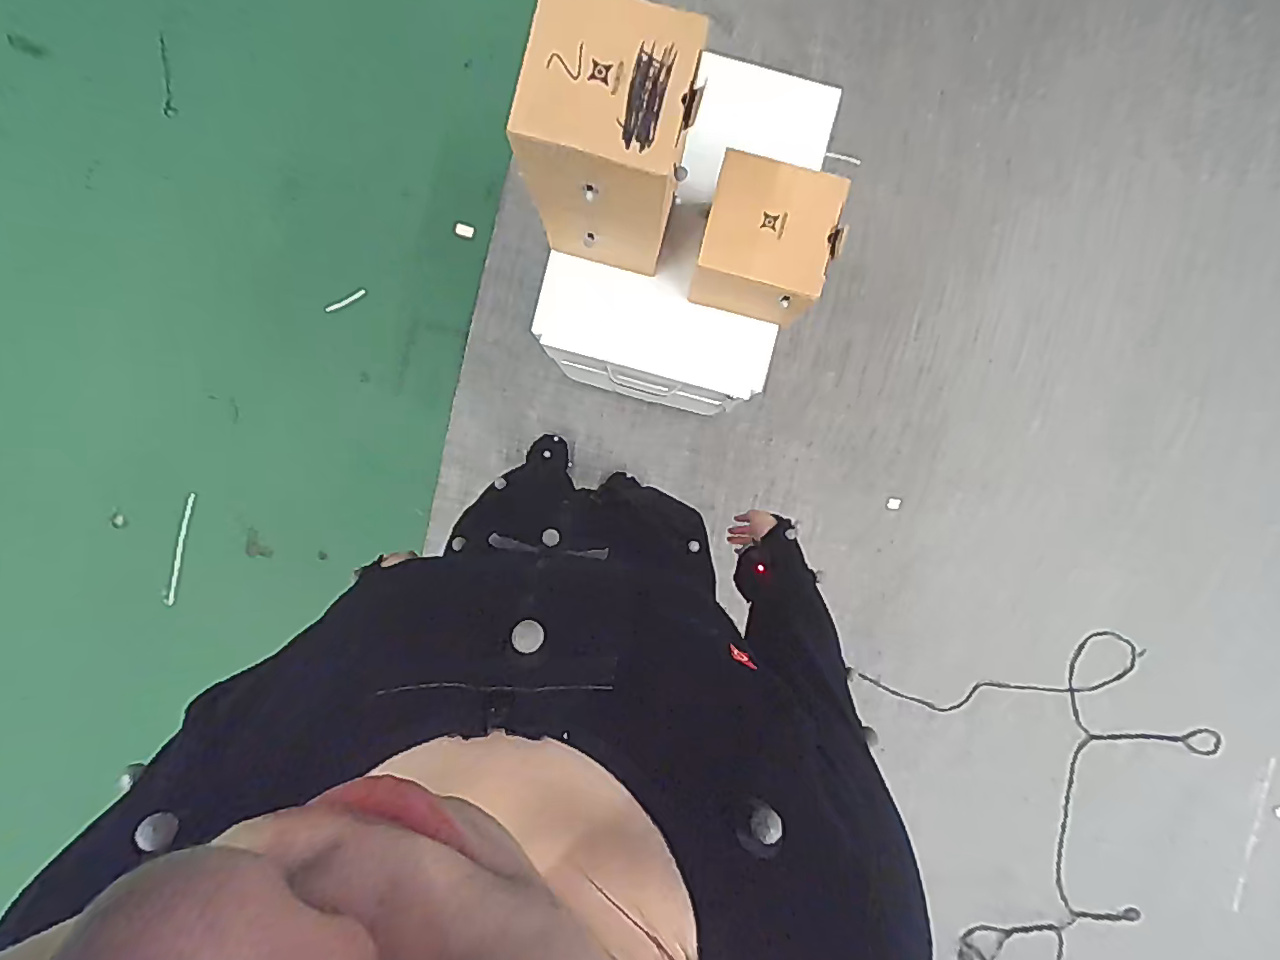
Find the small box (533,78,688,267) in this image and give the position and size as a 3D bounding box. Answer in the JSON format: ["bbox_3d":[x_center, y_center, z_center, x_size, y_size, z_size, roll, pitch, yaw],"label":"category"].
[{"bbox_3d":[-0.042,-0.434,0.795,0.179,0.176,0.168,14,93,-2],"label":"small box"}]
